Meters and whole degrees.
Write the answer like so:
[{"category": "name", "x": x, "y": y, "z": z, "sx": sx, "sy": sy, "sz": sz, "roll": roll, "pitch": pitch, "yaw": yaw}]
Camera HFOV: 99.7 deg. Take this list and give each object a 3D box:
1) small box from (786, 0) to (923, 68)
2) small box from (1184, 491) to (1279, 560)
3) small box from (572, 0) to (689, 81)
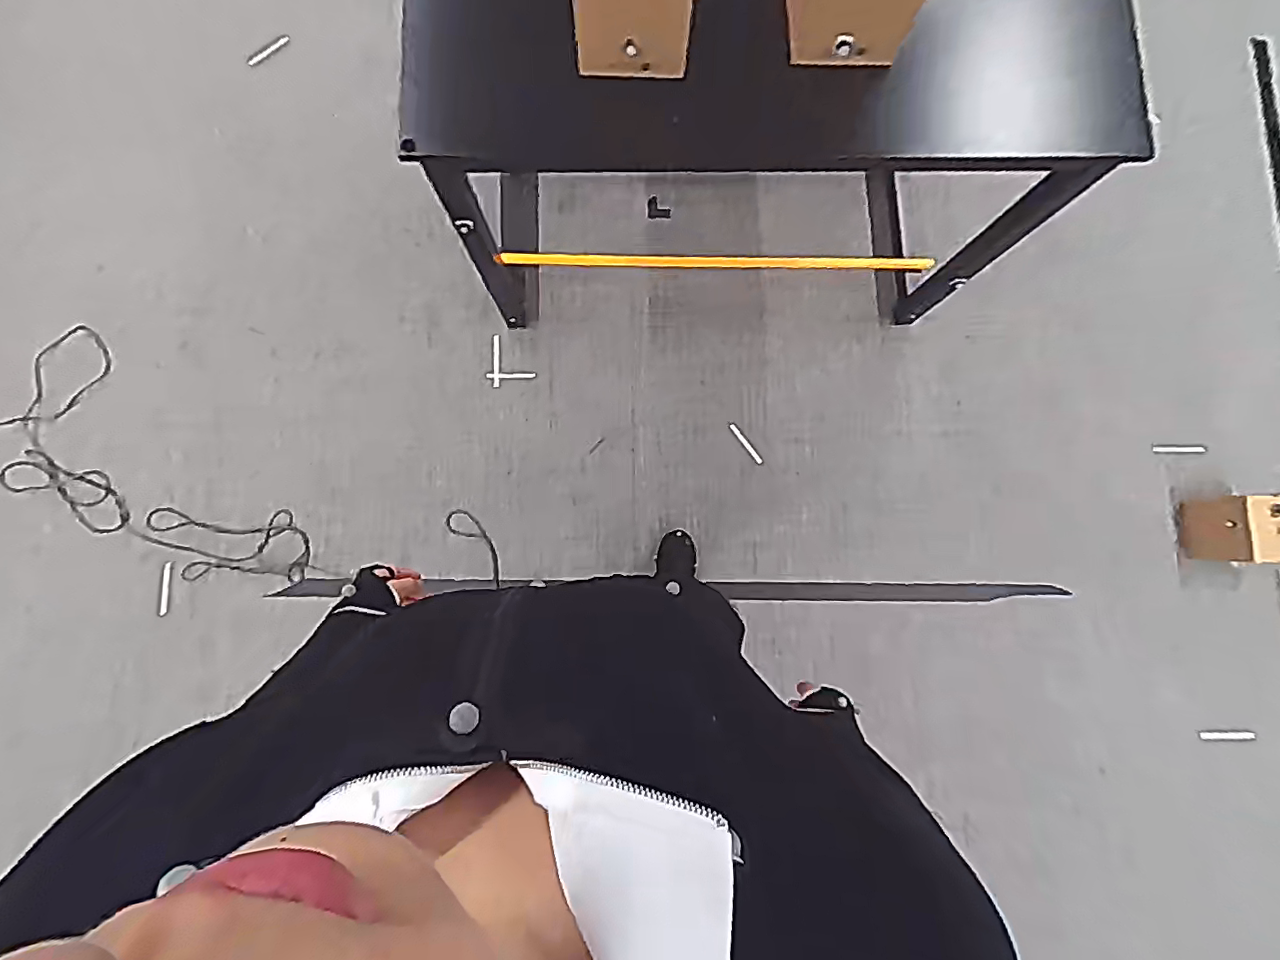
[{"category": "small box", "x": 0.322, "y": -0.766, "z": 0.810, "sx": 0.168, "sy": 0.176, "sz": 0.179, "roll": -2, "pitch": 84, "yaw": 0}, {"category": "small box", "x": 1.641, "y": 0.125, "z": 1.468, "sx": 0.168, "sy": 0.176, "sz": 0.179, "roll": -2, "pitch": 84, "yaw": -1}, {"category": "small box", "x": -0.015, "y": -0.739, "z": 0.796, "sx": 0.168, "sy": 0.176, "sz": 0.179, "roll": 1, "pitch": 83, "yaw": -1}]
